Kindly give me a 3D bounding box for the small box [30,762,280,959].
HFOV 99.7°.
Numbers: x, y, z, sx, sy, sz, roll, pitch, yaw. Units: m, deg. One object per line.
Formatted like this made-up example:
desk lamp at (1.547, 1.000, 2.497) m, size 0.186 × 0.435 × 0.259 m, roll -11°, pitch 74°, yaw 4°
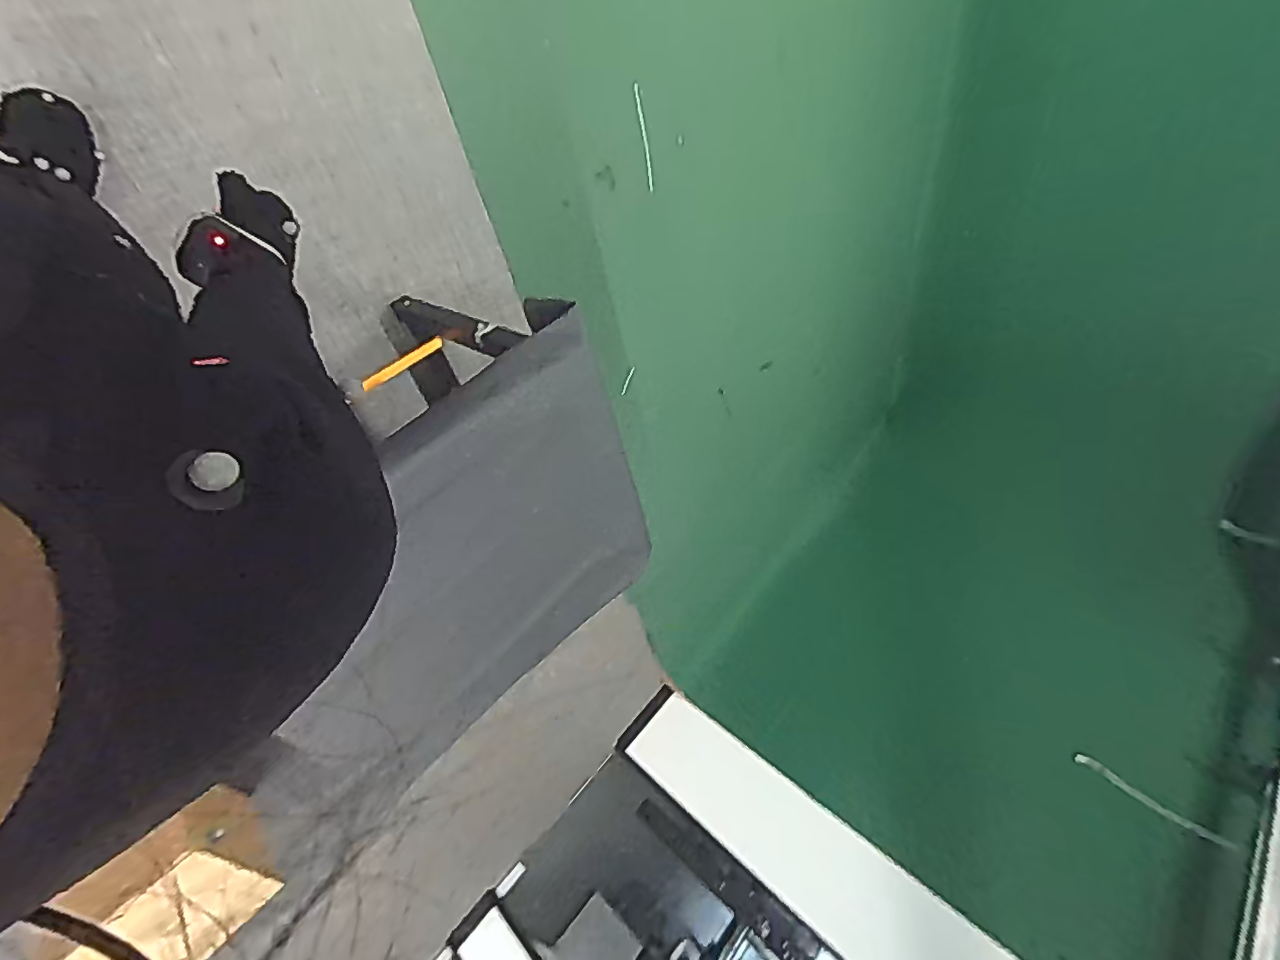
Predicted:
small box at (-0.624, 0.511, 0.707) m, size 0.168 × 0.176 × 0.179 m, roll -41°, pitch 138°, yaw -27°
